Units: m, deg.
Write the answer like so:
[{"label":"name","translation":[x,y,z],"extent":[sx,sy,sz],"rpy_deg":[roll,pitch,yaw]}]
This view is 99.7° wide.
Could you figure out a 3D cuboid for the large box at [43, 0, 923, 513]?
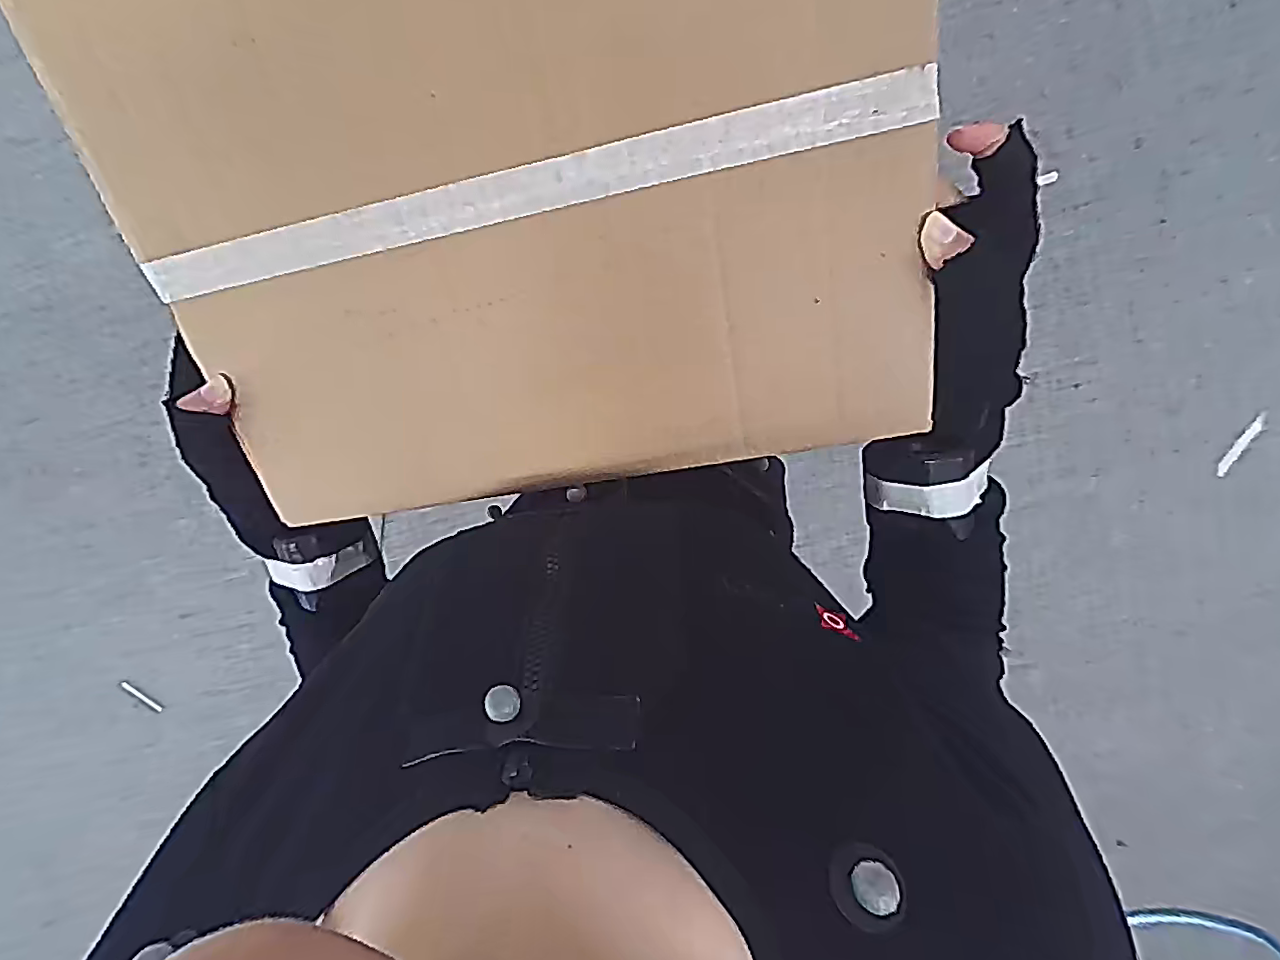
[{"label":"large box","translation":[-0.055,-0.206,0.411],"extent":[0.408,0.320,0.320],"rpy_deg":[-9,115,9]}]
